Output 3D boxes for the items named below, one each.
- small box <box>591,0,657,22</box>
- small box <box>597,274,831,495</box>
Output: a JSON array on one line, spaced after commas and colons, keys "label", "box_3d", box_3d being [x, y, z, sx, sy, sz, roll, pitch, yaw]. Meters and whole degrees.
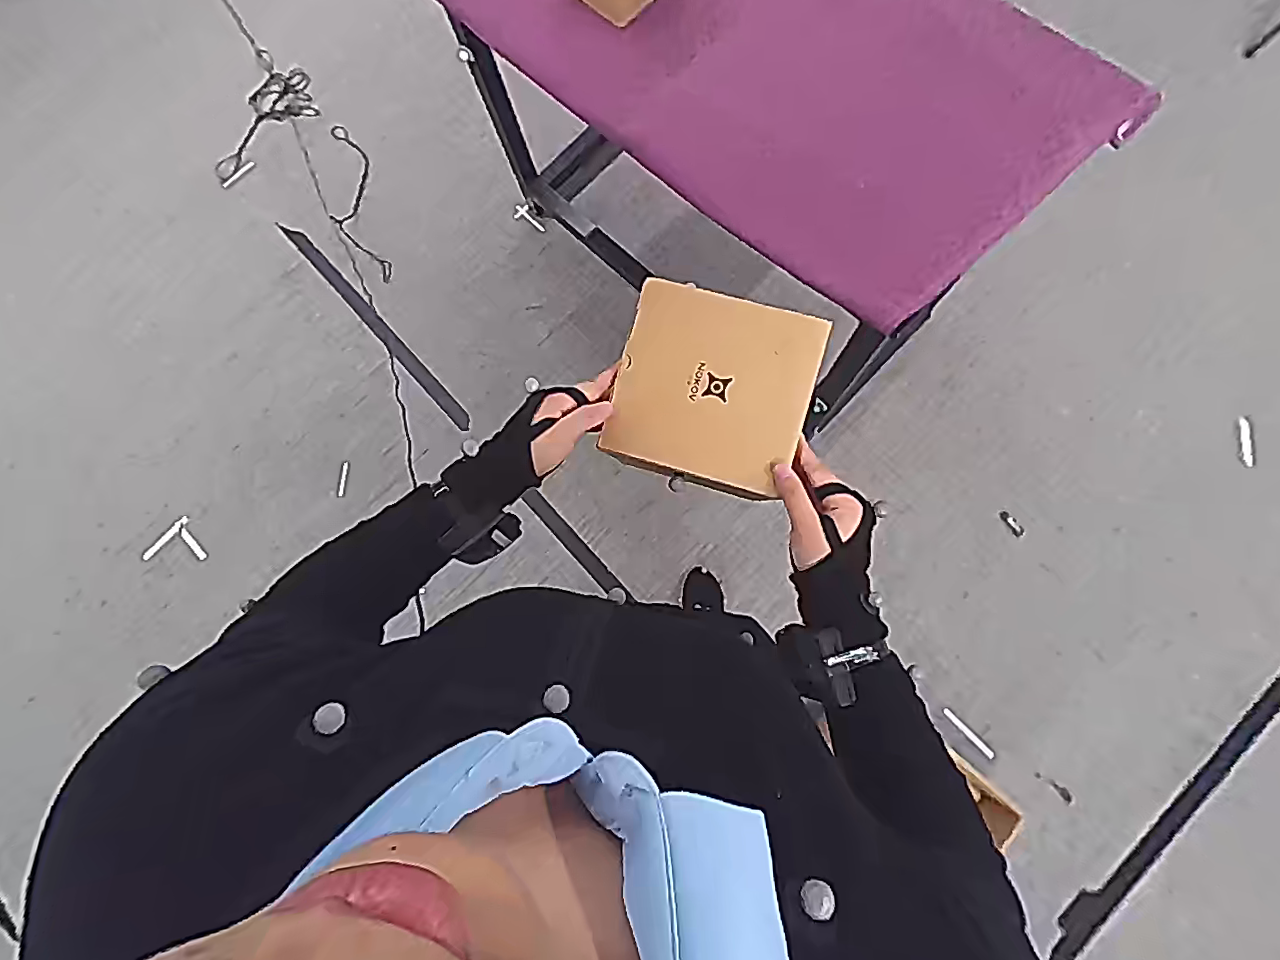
[{"label": "small box", "box_3d": [-0.038, -0.956, 0.934, 0.168, 0.176, 0.179, -44, 79, -4]}, {"label": "small box", "box_3d": [0.073, -0.086, 0.565, 0.179, 0.176, 0.168, 16, 89, 7]}]
